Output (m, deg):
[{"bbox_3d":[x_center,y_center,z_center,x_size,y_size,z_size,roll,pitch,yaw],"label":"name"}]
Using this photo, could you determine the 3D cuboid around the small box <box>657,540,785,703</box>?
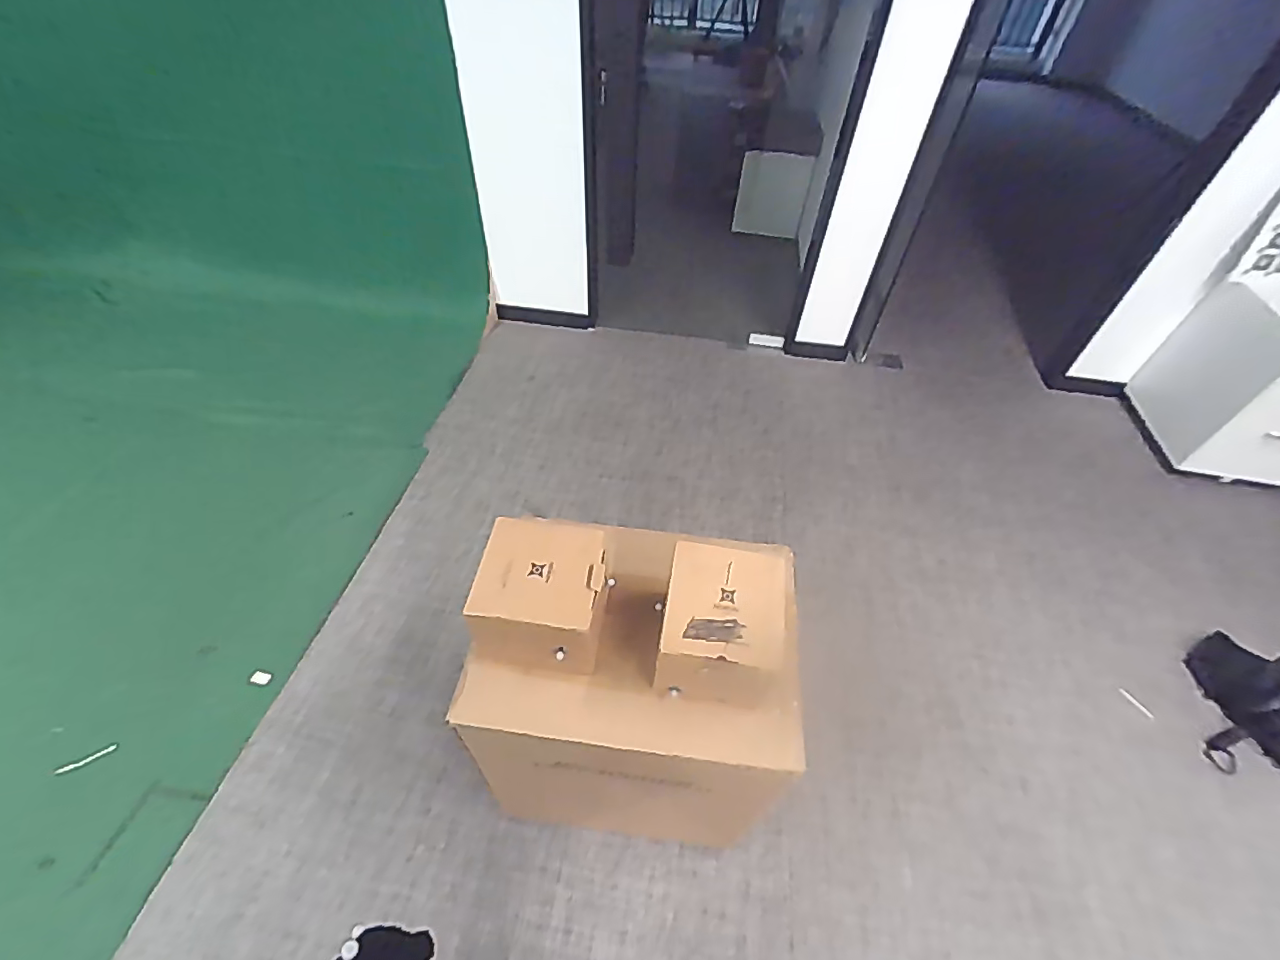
[{"bbox_3d":[0.119,0.219,0.820,0.168,0.176,0.179,9,51,5],"label":"small box"}]

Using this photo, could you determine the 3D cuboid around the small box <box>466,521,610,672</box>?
[{"bbox_3d":[-0.143,0.185,0.844,0.179,0.176,0.168,5,50,4],"label":"small box"}]
